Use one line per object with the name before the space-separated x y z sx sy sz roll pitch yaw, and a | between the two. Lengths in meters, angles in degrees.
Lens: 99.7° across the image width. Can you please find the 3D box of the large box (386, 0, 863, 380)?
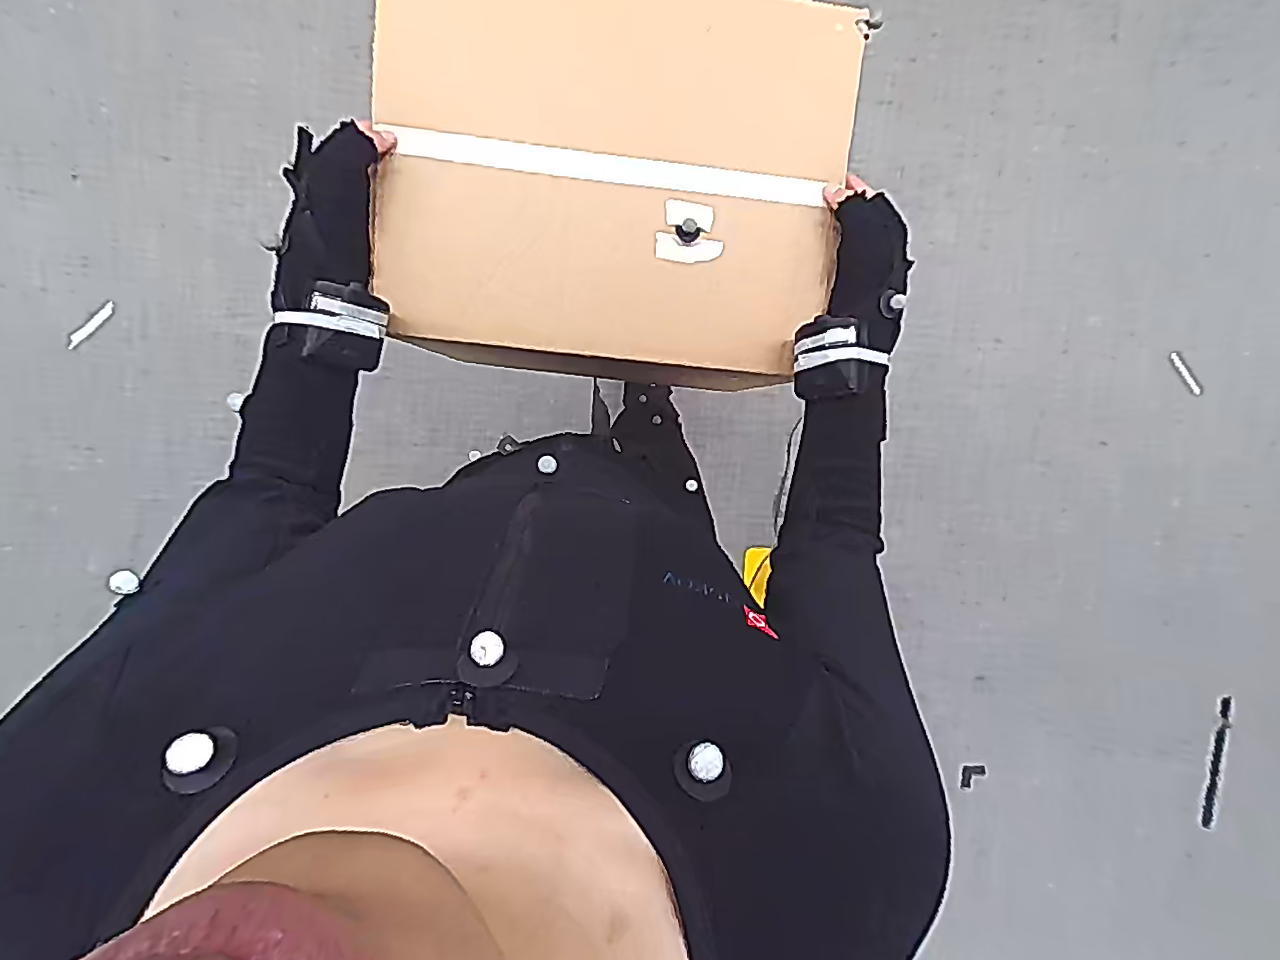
large box | -0.027 -0.294 0.617 0.408 0.320 0.320 5 97 -5
